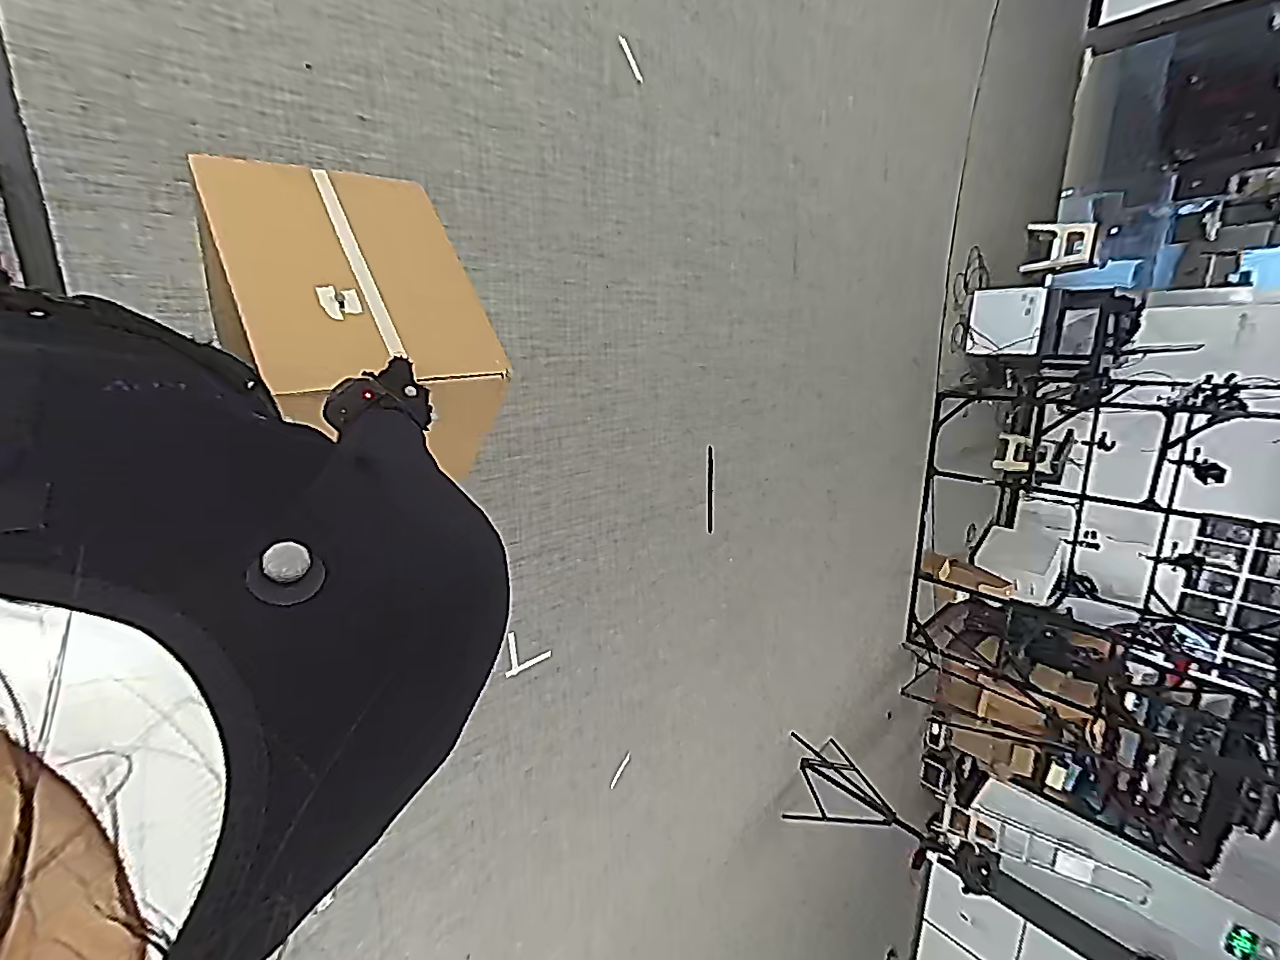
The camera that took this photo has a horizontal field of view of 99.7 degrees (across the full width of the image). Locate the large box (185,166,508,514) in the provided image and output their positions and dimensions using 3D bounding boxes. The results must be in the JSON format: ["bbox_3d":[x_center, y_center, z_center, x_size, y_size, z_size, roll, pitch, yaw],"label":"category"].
[{"bbox_3d":[-0.478,-0.214,0.877,0.320,0.320,0.408,-16,71,-39],"label":"large box"}]
